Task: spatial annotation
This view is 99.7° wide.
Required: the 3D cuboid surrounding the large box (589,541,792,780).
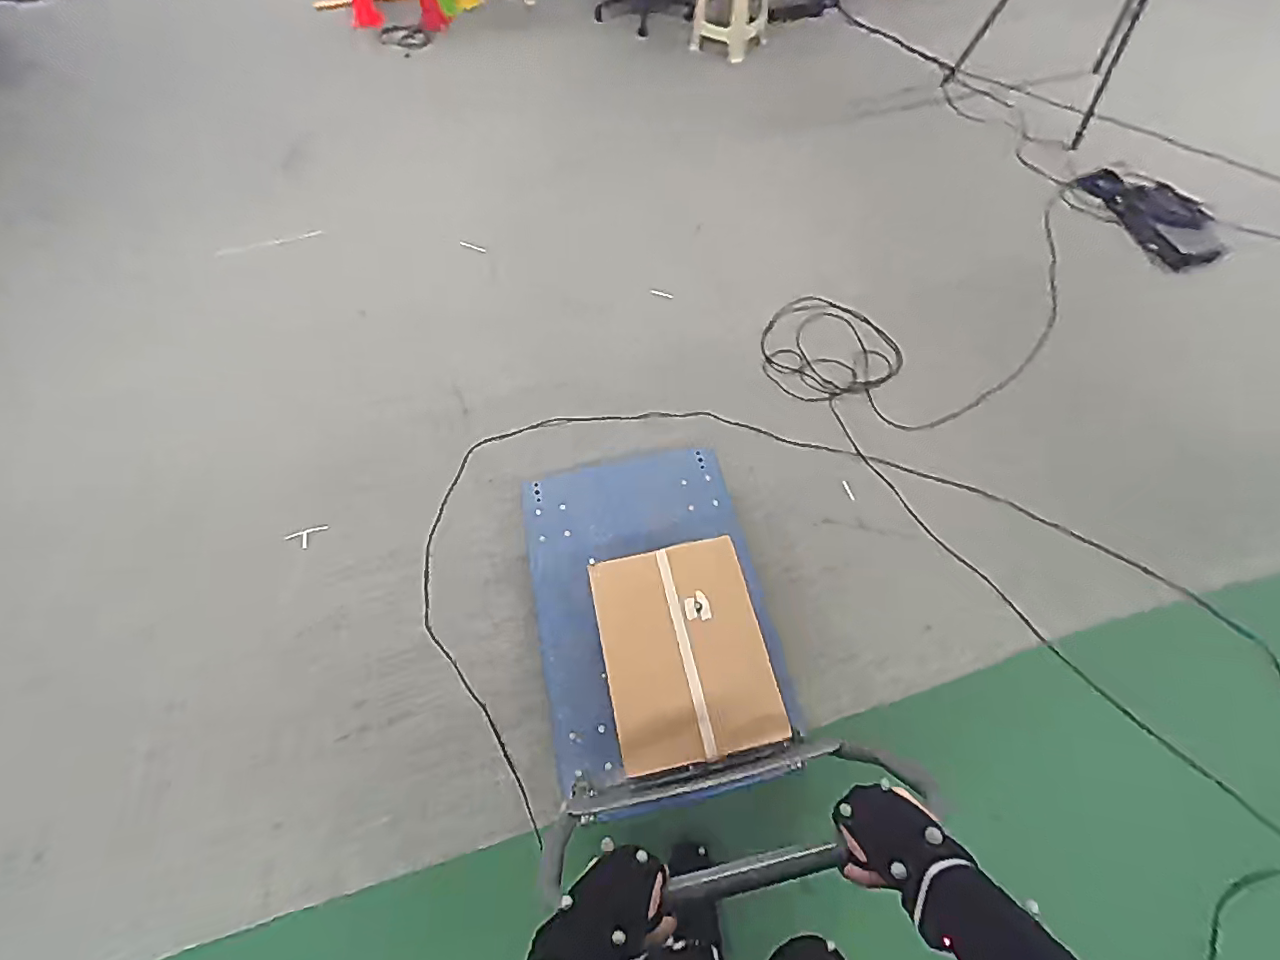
[{"bbox_3d":[0.089,0.401,1.192,0.320,0.320,0.408,-11,62,-6],"label":"large box"}]
